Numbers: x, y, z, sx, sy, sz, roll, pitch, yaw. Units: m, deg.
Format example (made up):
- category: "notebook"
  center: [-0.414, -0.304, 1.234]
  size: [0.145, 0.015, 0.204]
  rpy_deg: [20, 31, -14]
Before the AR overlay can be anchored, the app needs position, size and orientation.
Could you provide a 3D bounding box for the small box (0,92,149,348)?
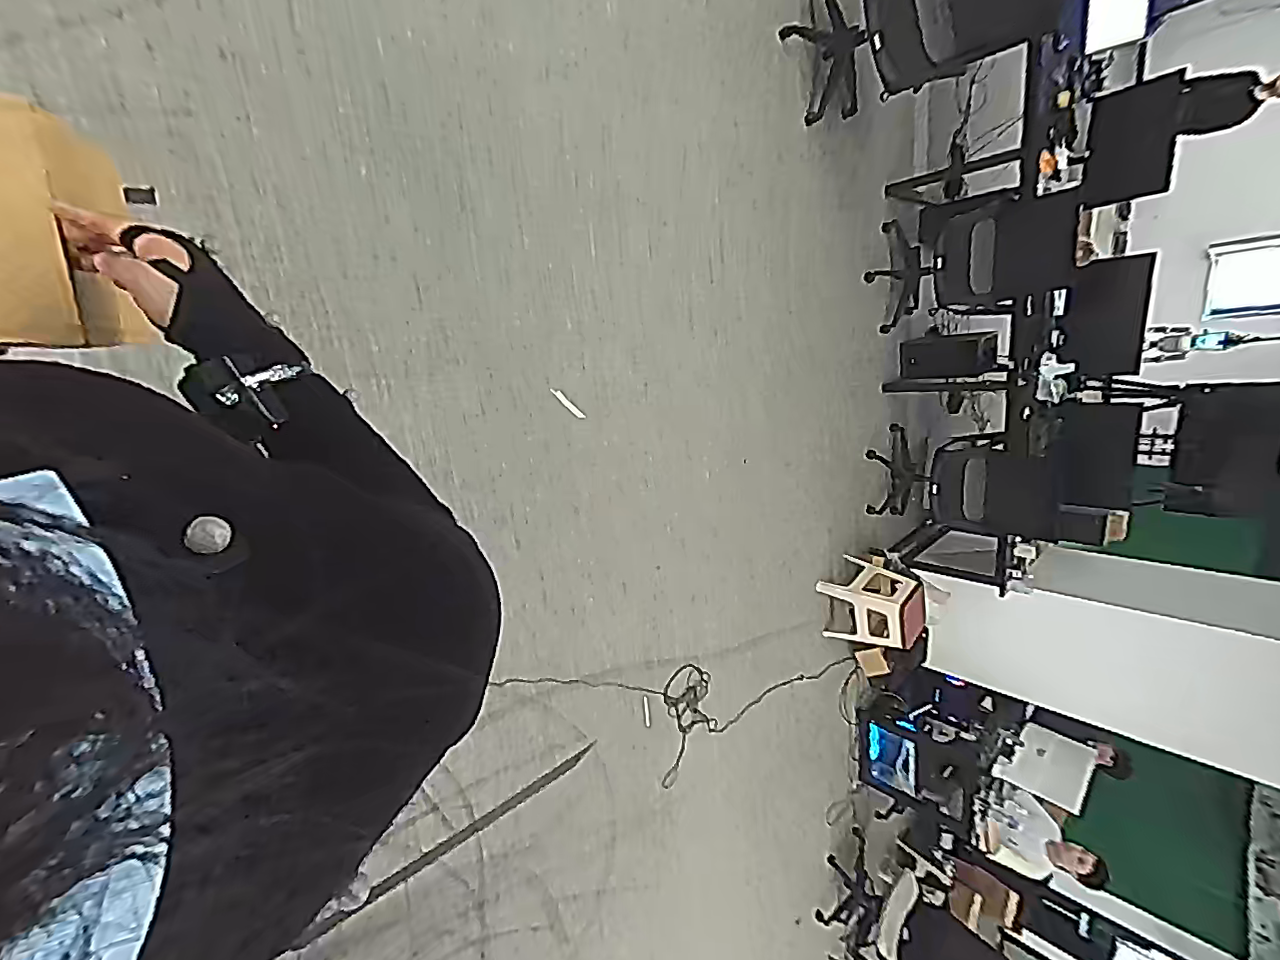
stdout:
- category: "small box"
  center: [-0.539, -0.200, 0.437]
  size: [0.168, 0.176, 0.179]
  rpy_deg: [-6, 108, -28]
